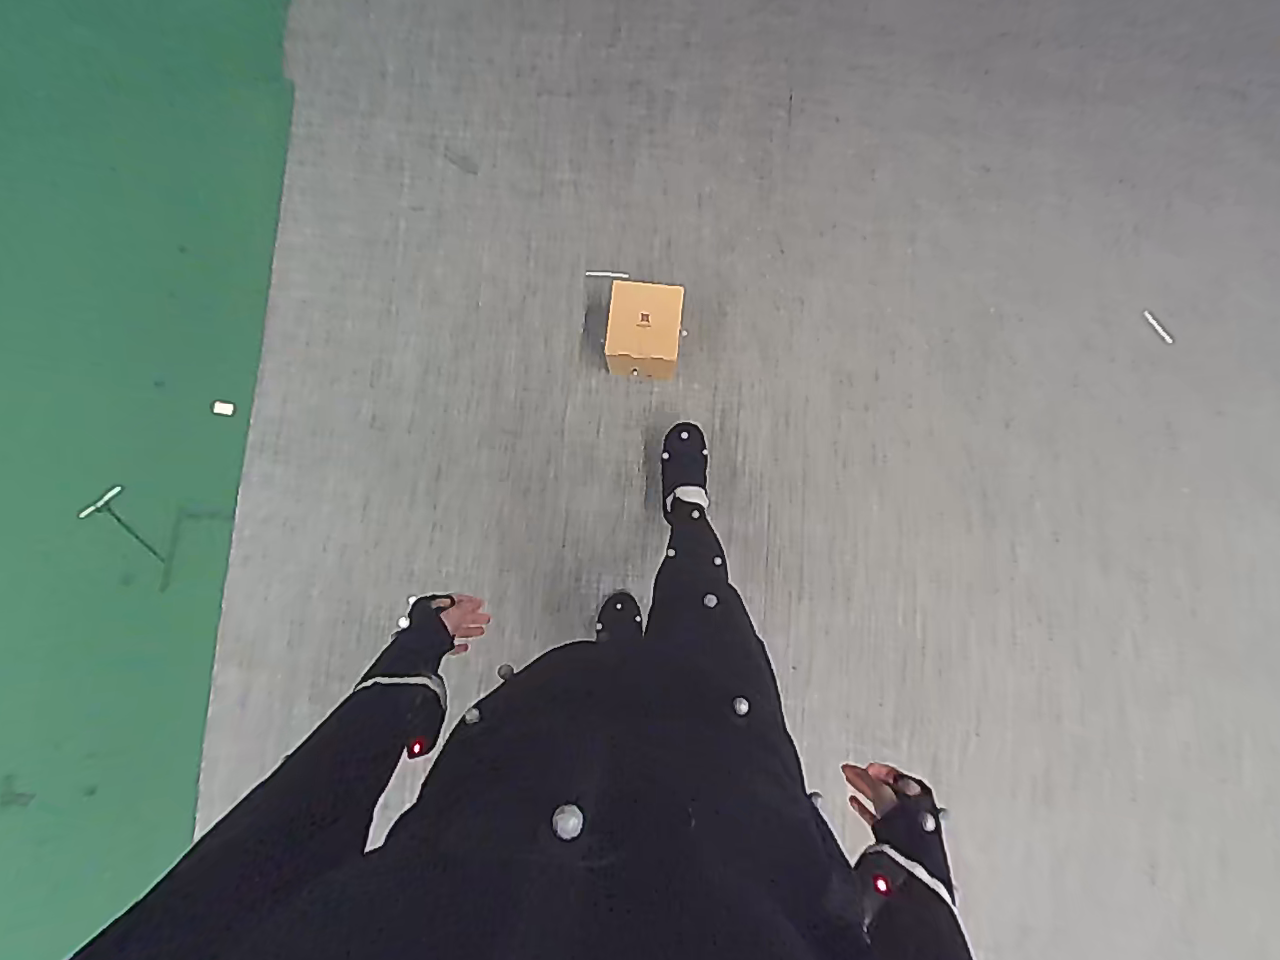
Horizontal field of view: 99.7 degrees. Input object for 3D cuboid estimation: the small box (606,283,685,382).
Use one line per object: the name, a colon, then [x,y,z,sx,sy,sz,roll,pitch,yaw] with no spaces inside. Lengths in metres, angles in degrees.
small box: [0.012,-0.350,1.305,0.168,0.176,0.179,6,86,1]
